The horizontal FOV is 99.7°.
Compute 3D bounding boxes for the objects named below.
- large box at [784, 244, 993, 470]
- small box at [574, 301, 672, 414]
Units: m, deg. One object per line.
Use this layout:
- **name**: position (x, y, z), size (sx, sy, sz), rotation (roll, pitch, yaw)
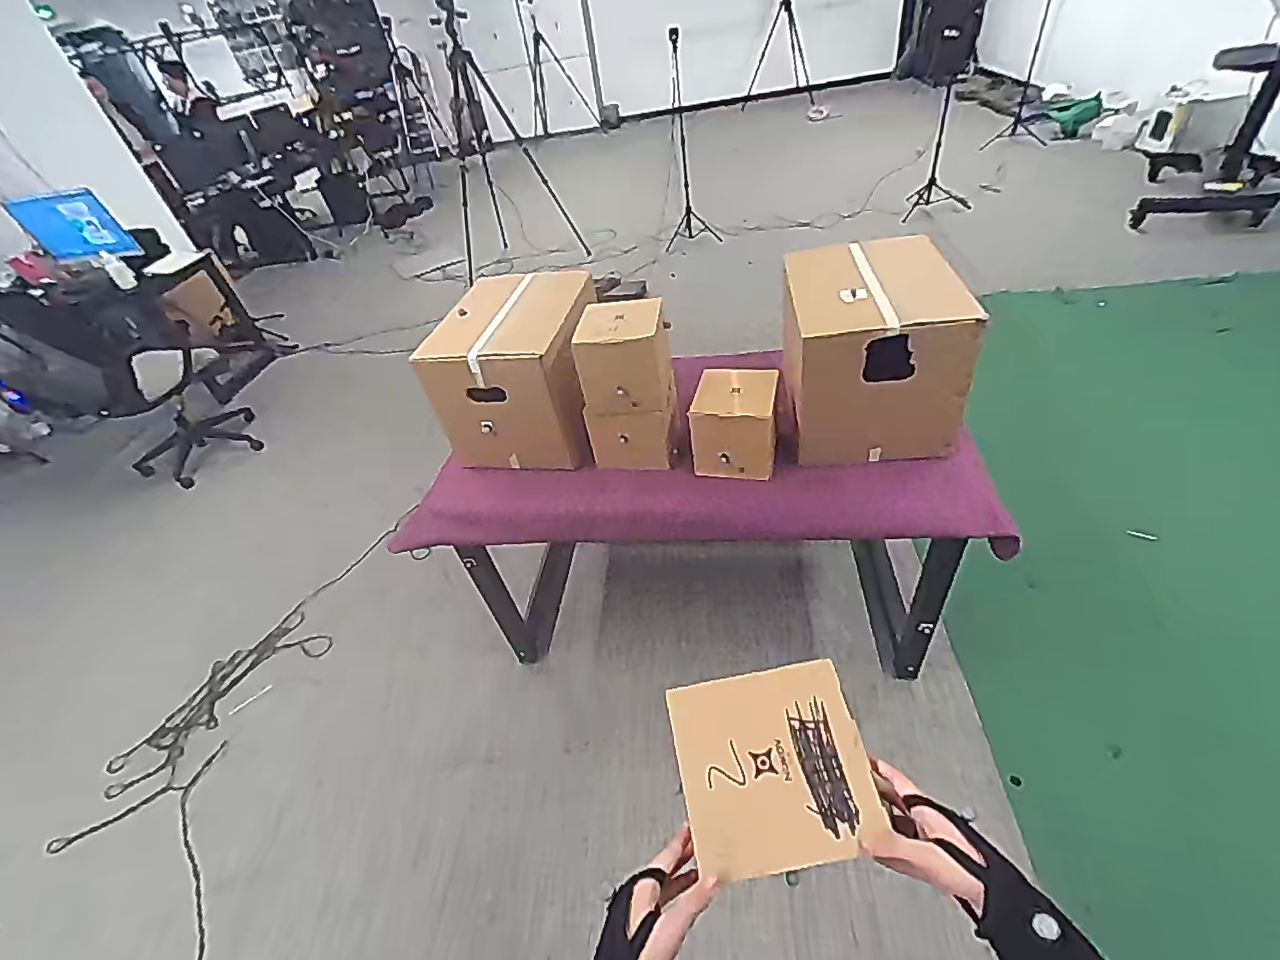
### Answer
- **large box**: position (0.494, -0.273, 1.186), size (0.320, 0.320, 0.408), rotation (-4, 42, 12)
- **small box**: position (-0.026, -0.256, 1.137), size (0.168, 0.176, 0.179), rotation (-2, 42, 12)
